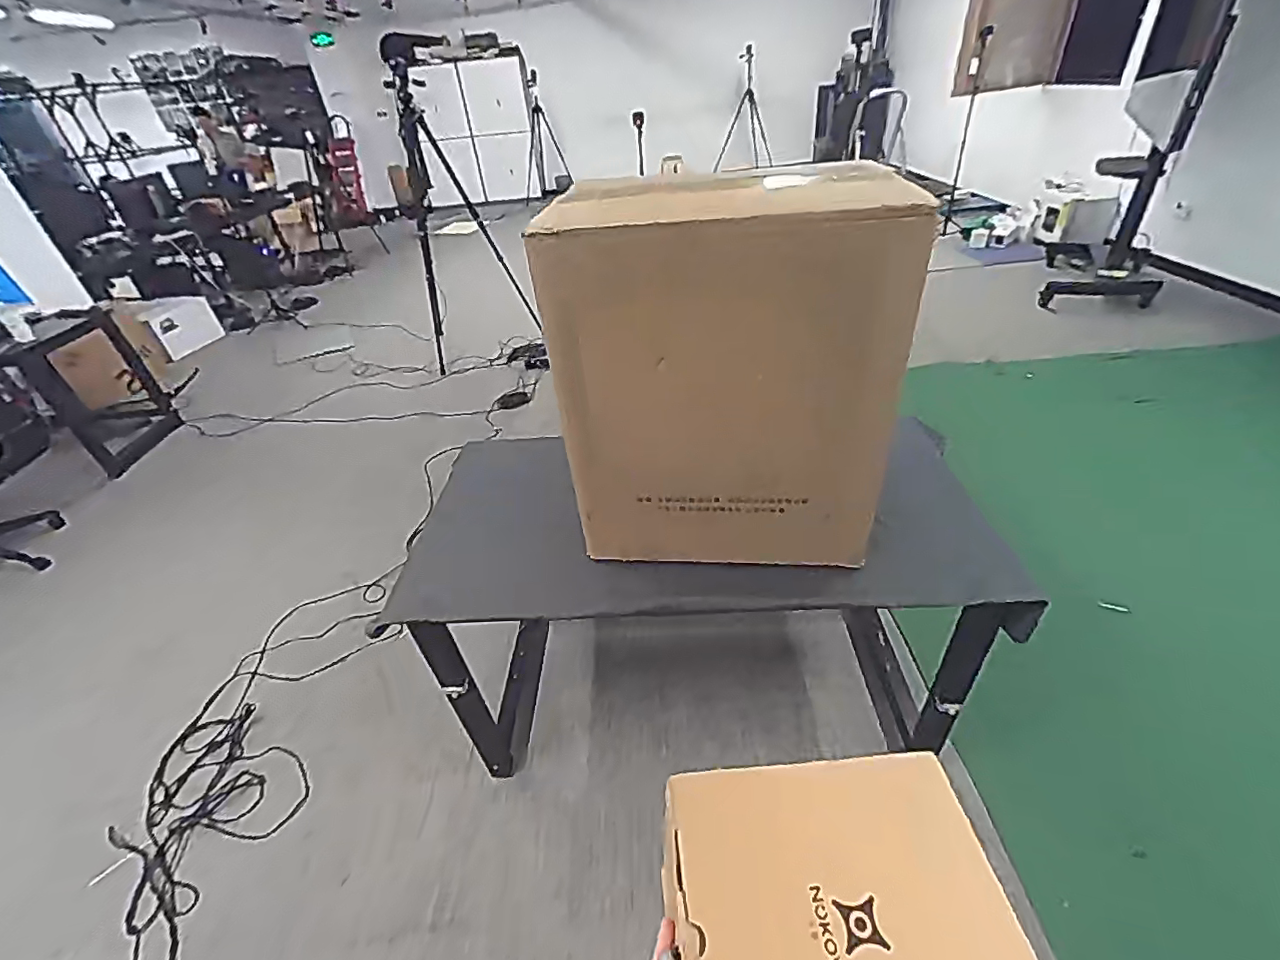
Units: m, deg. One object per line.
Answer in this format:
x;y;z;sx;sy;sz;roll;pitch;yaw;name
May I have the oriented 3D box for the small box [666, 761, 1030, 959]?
0.112;0.300;0.333;0.179;0.176;0.168;-5;39;-3;small box
